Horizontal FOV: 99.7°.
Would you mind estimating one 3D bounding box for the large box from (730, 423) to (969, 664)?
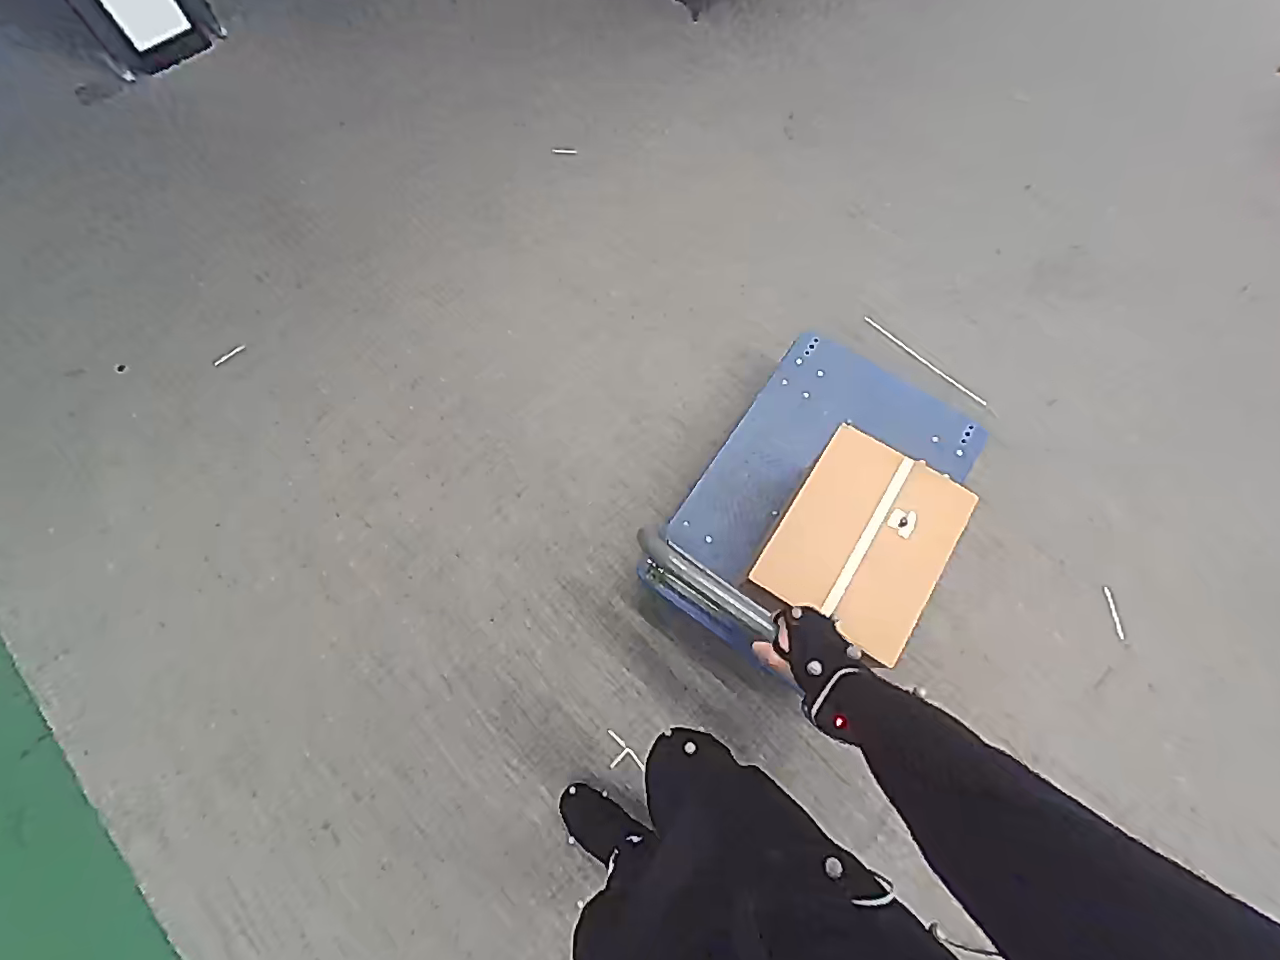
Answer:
[{"bbox_3d":[0.447,0.159,1.226,0.320,0.320,0.408,32,75,10],"label":"large box"}]
